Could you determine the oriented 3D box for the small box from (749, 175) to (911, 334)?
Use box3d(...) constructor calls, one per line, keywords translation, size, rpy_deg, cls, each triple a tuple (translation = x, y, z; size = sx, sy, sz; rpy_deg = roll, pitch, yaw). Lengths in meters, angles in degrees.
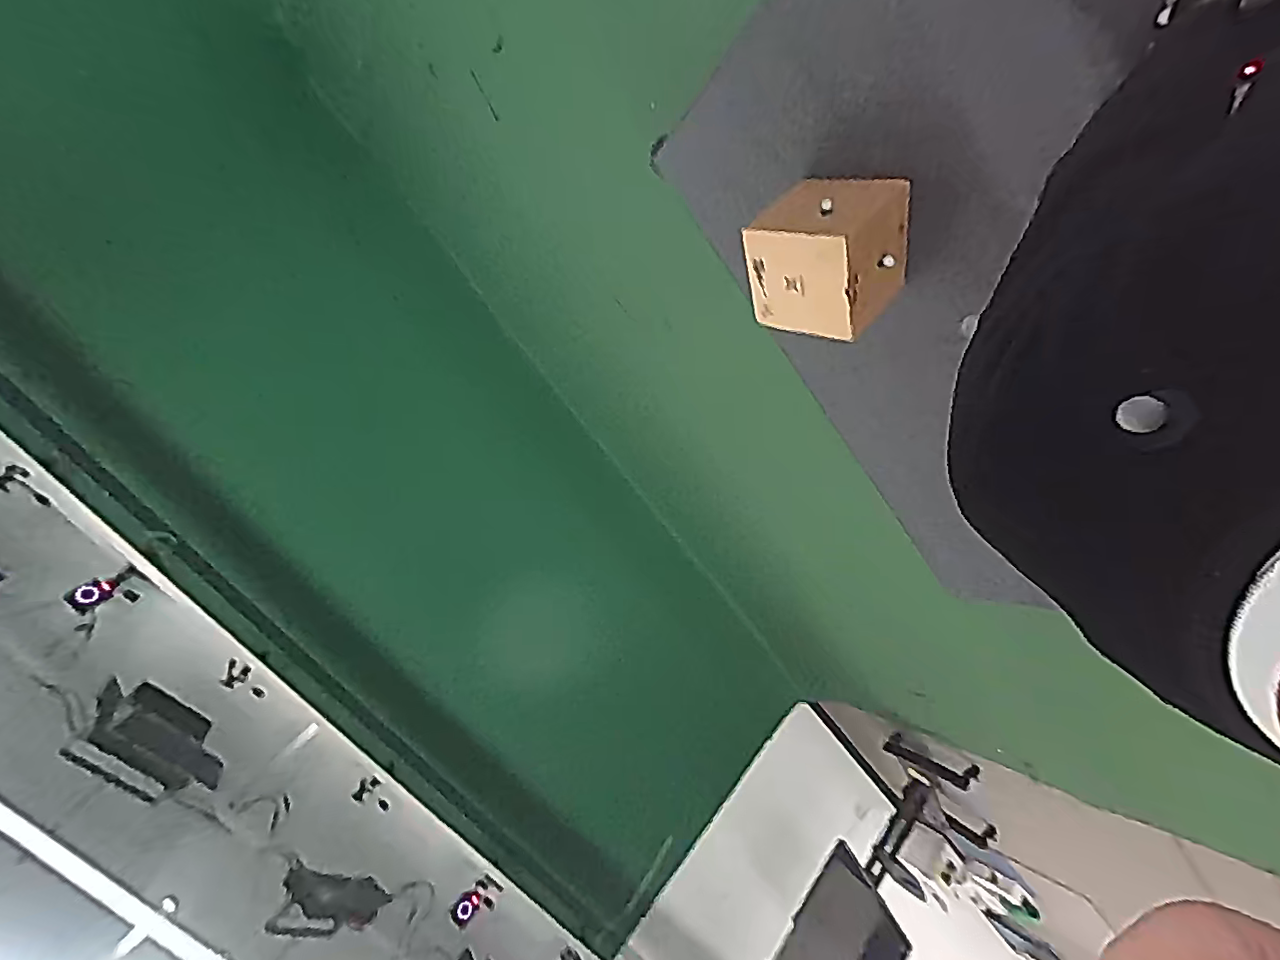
box3d(translation=(0.299, -0.353, 0.840), size=(0.179, 0.176, 0.168), rpy_deg=(25, 151, 39), cls="small box")
